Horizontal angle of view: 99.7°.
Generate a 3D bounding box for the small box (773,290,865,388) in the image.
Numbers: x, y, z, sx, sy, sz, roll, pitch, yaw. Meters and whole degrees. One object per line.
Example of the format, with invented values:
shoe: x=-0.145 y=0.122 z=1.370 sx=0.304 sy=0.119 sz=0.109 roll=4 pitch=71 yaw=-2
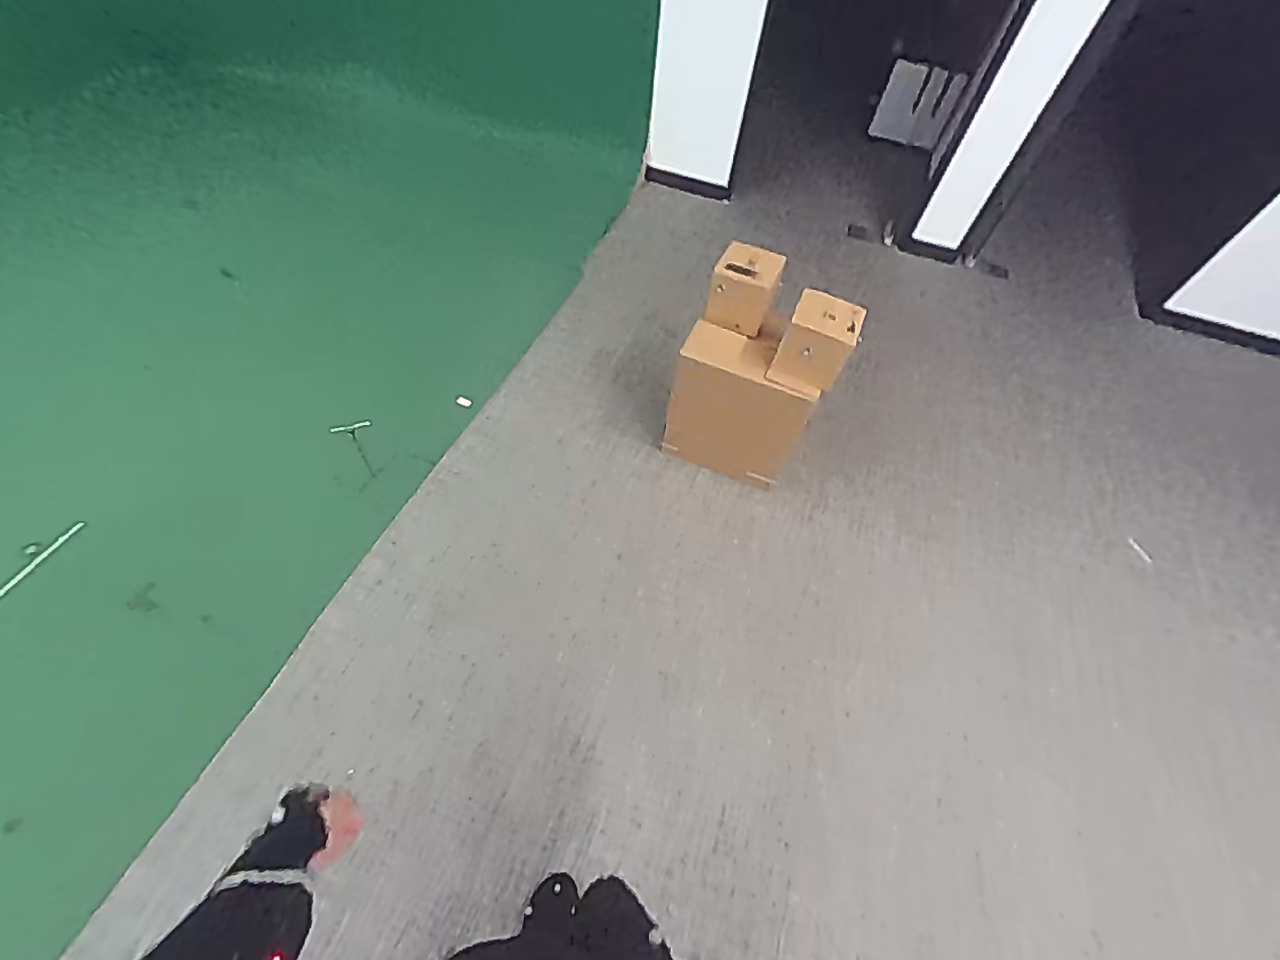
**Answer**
small box: x=0.482 y=-0.379 z=1.473 sx=0.179 sy=0.176 sz=0.168 roll=23 pitch=58 yaw=10
